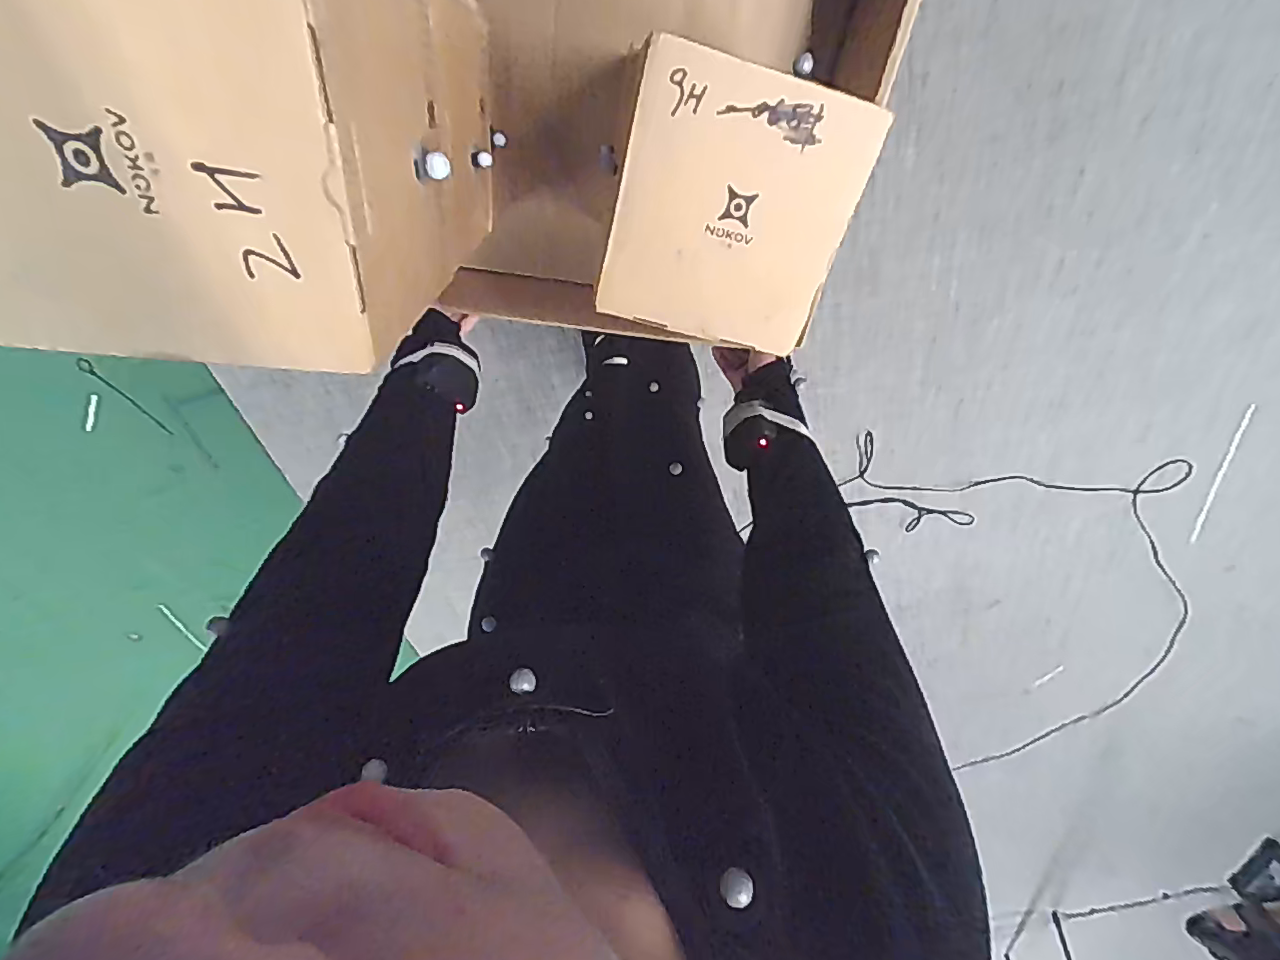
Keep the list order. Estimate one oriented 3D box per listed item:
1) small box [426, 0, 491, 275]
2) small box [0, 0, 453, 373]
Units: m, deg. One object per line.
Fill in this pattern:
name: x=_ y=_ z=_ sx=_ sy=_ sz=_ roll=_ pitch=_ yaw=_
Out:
small box: x=-0.217 y=-0.272 z=0.410 sx=0.179 sy=0.176 sz=0.168 roll=4 pitch=126 yaw=-7
small box: x=-0.208 y=-0.173 z=0.279 sx=0.179 sy=0.176 sz=0.168 roll=4 pitch=126 yaw=-8
